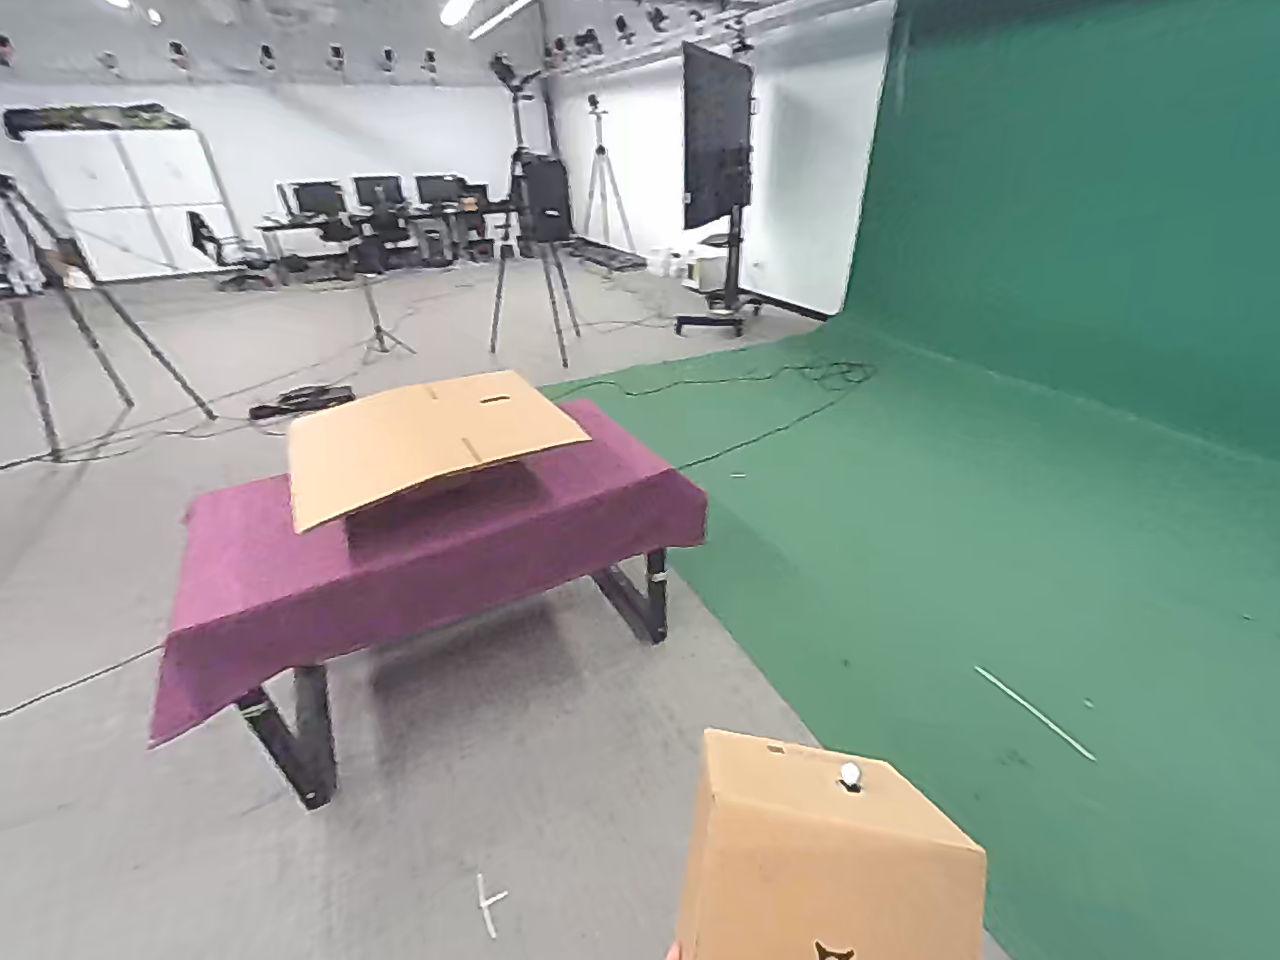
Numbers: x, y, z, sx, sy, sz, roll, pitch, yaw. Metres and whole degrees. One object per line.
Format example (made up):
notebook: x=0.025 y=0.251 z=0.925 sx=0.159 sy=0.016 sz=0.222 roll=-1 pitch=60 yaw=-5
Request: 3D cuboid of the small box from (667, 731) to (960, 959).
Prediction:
small box: x=0.111 y=0.311 z=0.407 sx=0.168 sy=0.179 sz=0.176 roll=7 pitch=-8 yaw=6
